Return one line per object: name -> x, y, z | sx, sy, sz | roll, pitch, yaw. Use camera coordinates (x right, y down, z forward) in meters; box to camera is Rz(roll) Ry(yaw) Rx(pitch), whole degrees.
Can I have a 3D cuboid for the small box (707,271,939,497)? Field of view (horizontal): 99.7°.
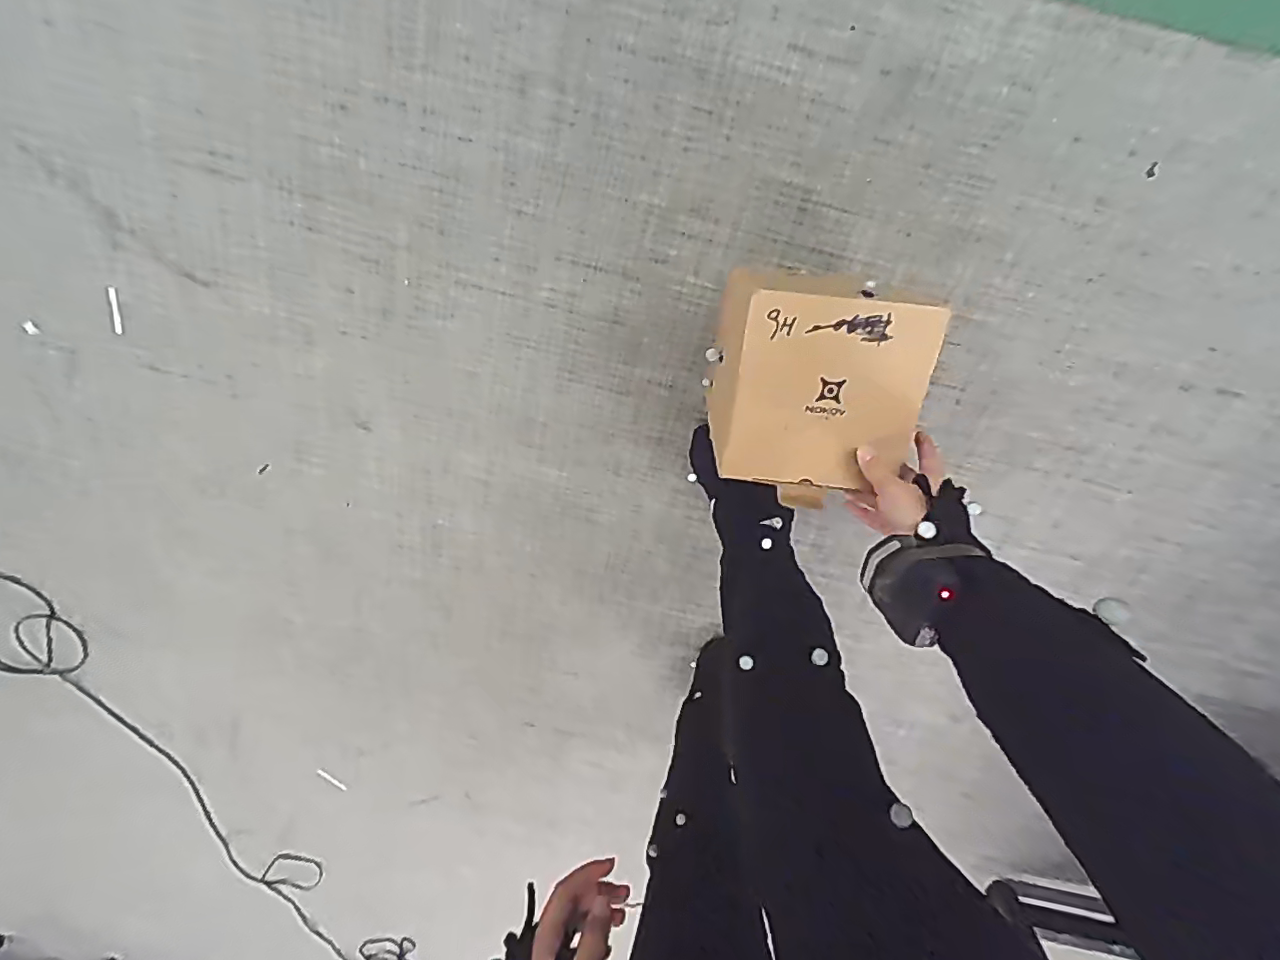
small box -> 0.163, -0.105, 0.553 | 0.168, 0.176, 0.179 | 5, 118, 0
